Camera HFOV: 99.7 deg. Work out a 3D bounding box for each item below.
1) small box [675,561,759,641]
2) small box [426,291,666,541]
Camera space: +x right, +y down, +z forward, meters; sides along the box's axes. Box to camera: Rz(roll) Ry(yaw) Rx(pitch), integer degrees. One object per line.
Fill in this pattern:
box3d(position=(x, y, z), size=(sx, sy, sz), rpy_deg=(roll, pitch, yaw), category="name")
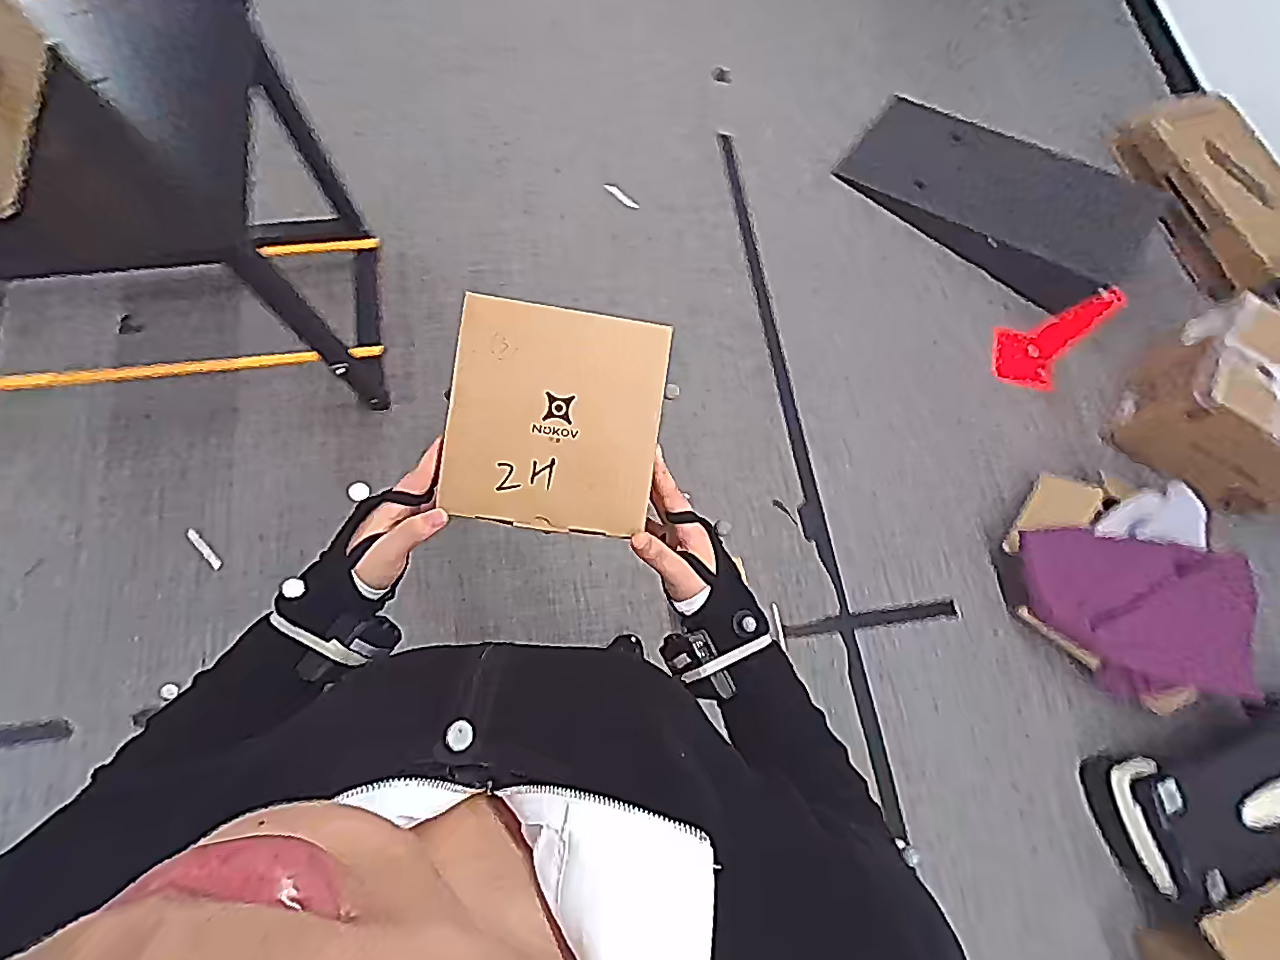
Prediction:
box3d(position=(0.196, 0.325, 1.441), size=(0.168, 0.176, 0.179), rpy_deg=(-10, 76, -7), category="small box")
box3d(position=(-0.079, -0.047, 0.495), size=(0.168, 0.176, 0.179), rpy_deg=(7, 89, -5), category="small box")
